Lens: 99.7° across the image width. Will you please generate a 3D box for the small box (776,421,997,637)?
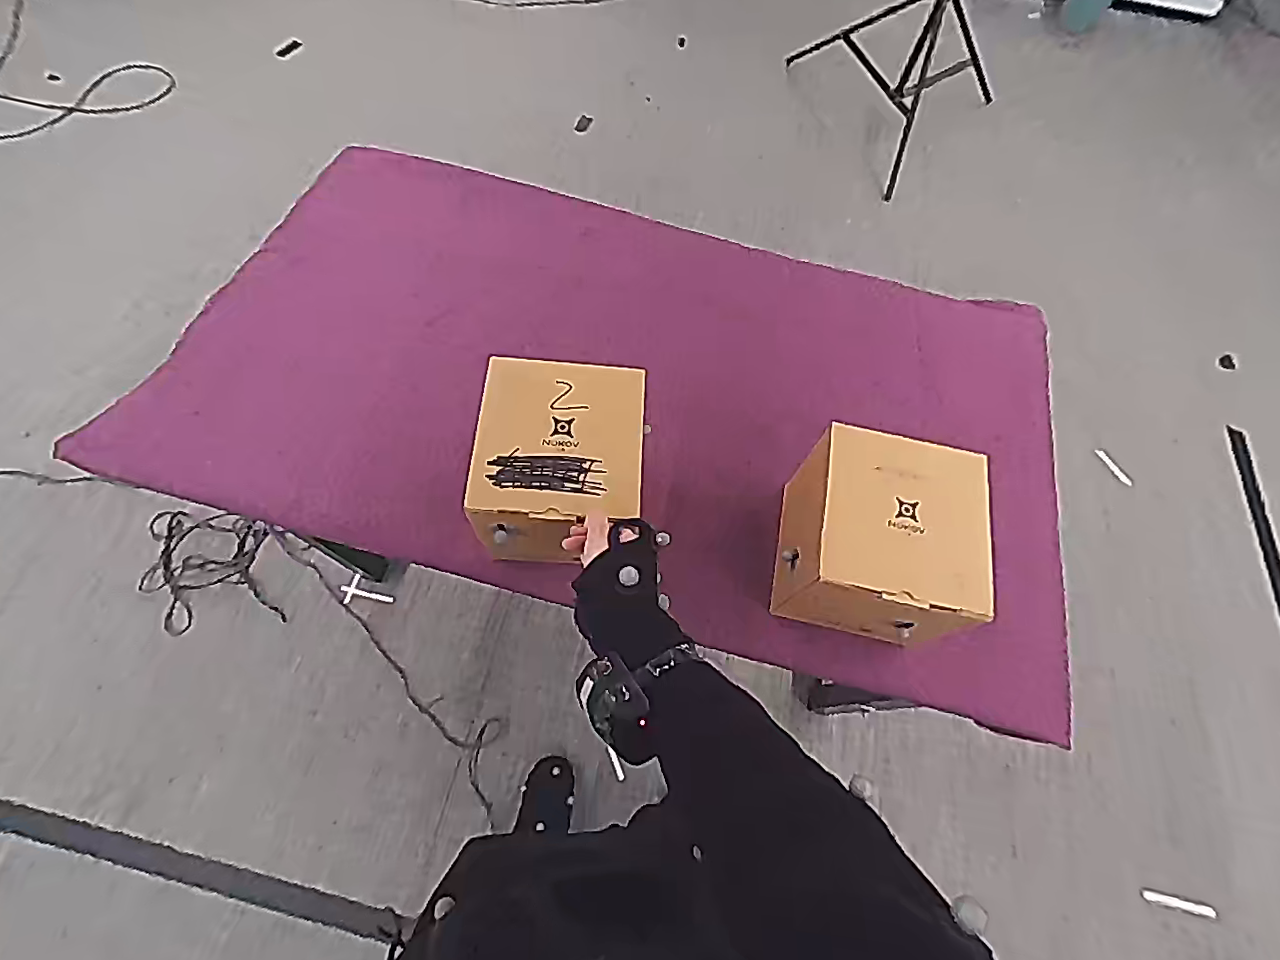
[{"bbox_3d":[0.259,0.064,0.601,0.168,0.176,0.179,13,65,1],"label":"small box"}]
